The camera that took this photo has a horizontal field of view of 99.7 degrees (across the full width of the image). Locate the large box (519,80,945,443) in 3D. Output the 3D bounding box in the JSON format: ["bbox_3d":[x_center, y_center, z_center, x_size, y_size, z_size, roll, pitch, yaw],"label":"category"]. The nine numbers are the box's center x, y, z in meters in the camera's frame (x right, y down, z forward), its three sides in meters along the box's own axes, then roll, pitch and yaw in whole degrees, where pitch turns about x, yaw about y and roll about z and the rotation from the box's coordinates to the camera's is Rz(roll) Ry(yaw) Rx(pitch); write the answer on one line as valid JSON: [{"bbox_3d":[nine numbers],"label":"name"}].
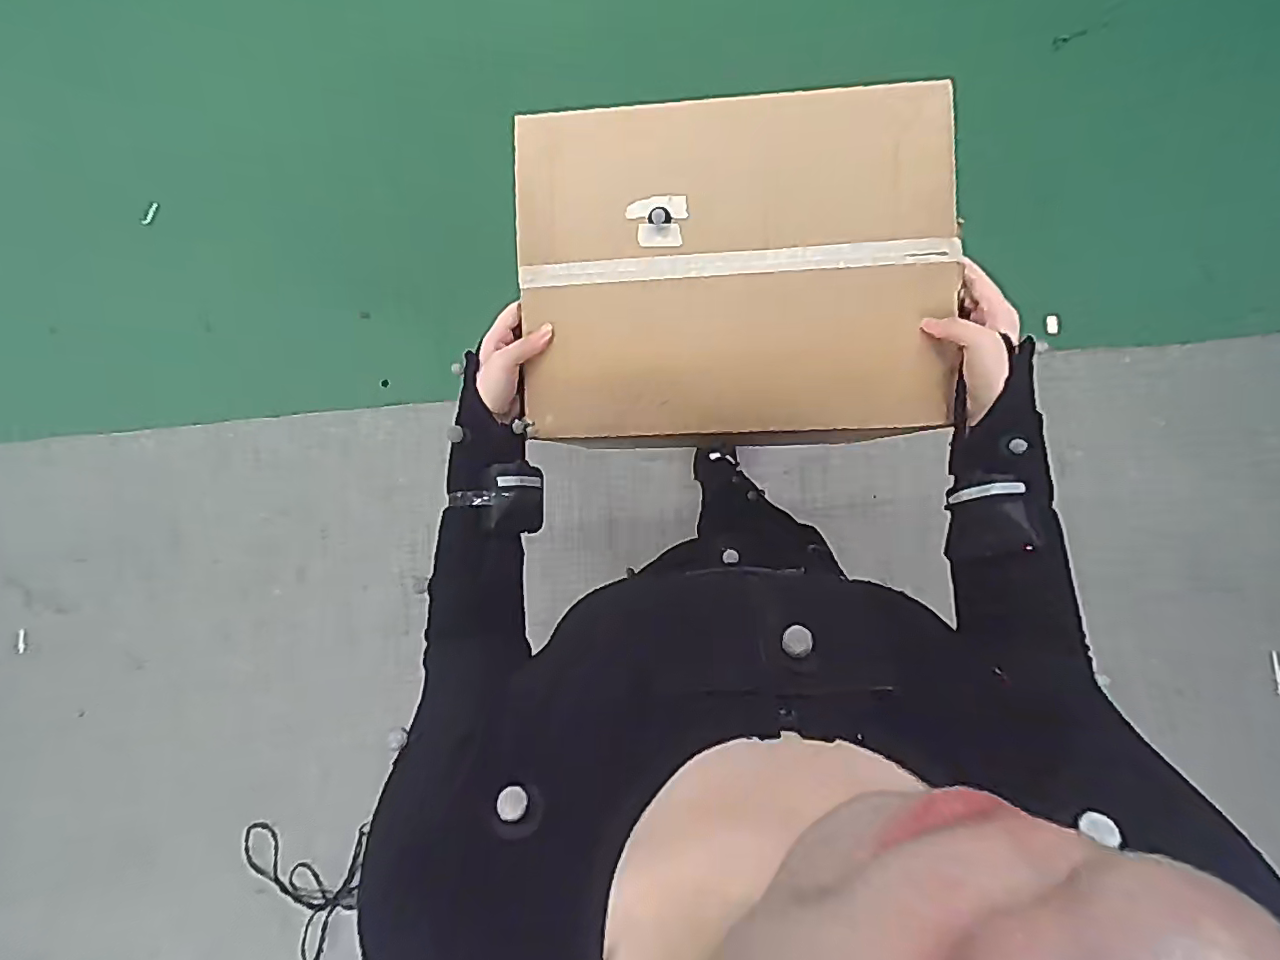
[{"bbox_3d":[0.100,-0.212,0.670,0.408,0.320,0.320,-2,91,7],"label":"large box"}]
